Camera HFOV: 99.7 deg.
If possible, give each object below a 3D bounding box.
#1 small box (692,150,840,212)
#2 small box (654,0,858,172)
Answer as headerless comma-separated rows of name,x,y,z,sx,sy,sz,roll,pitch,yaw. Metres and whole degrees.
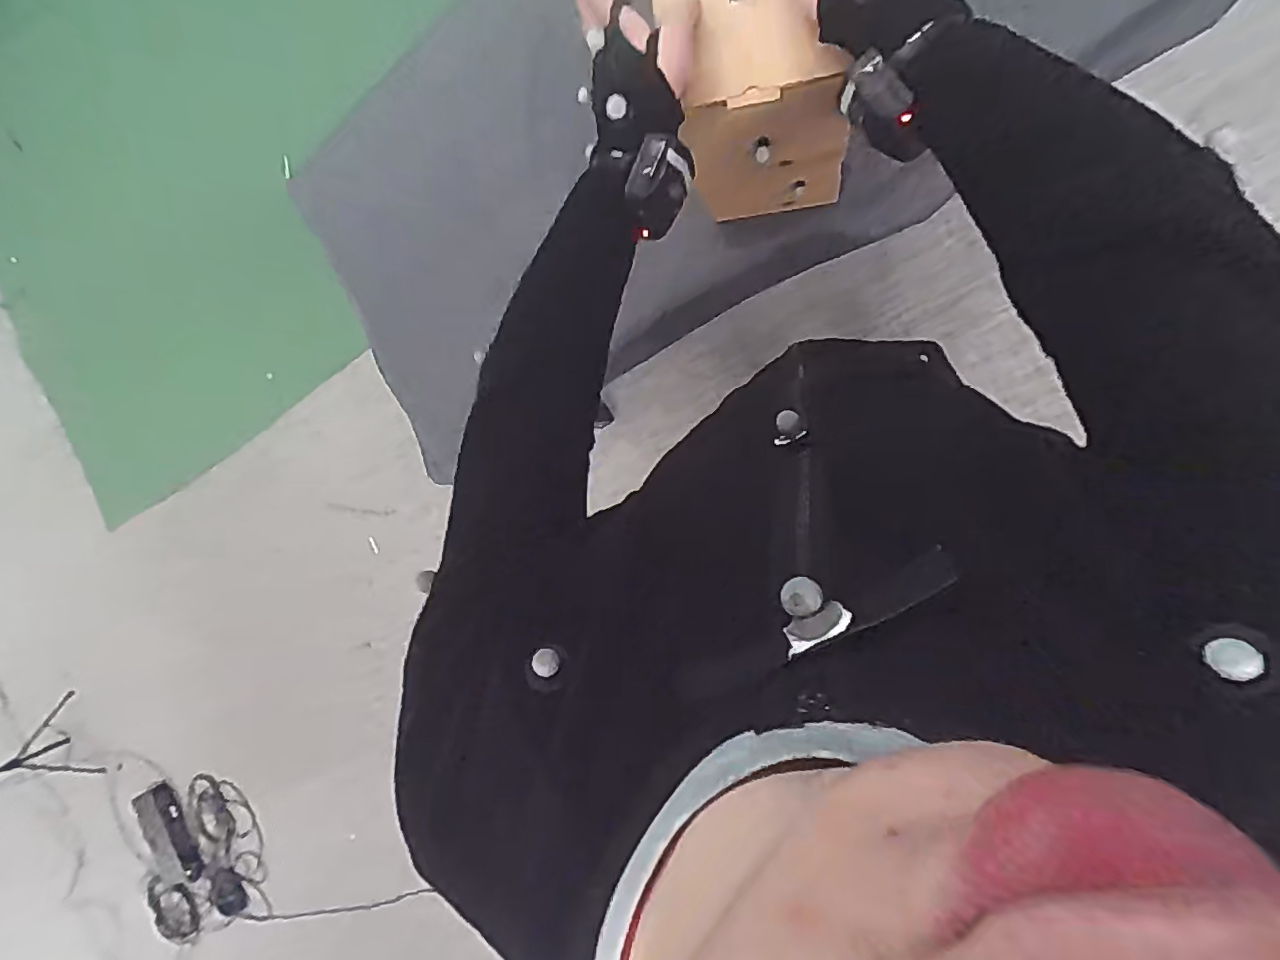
small box,0.158,-0.449,0.664,0.168,0.176,0.179,-1,97,18
small box,0.114,-0.414,0.510,0.168,0.176,0.179,0,100,17
